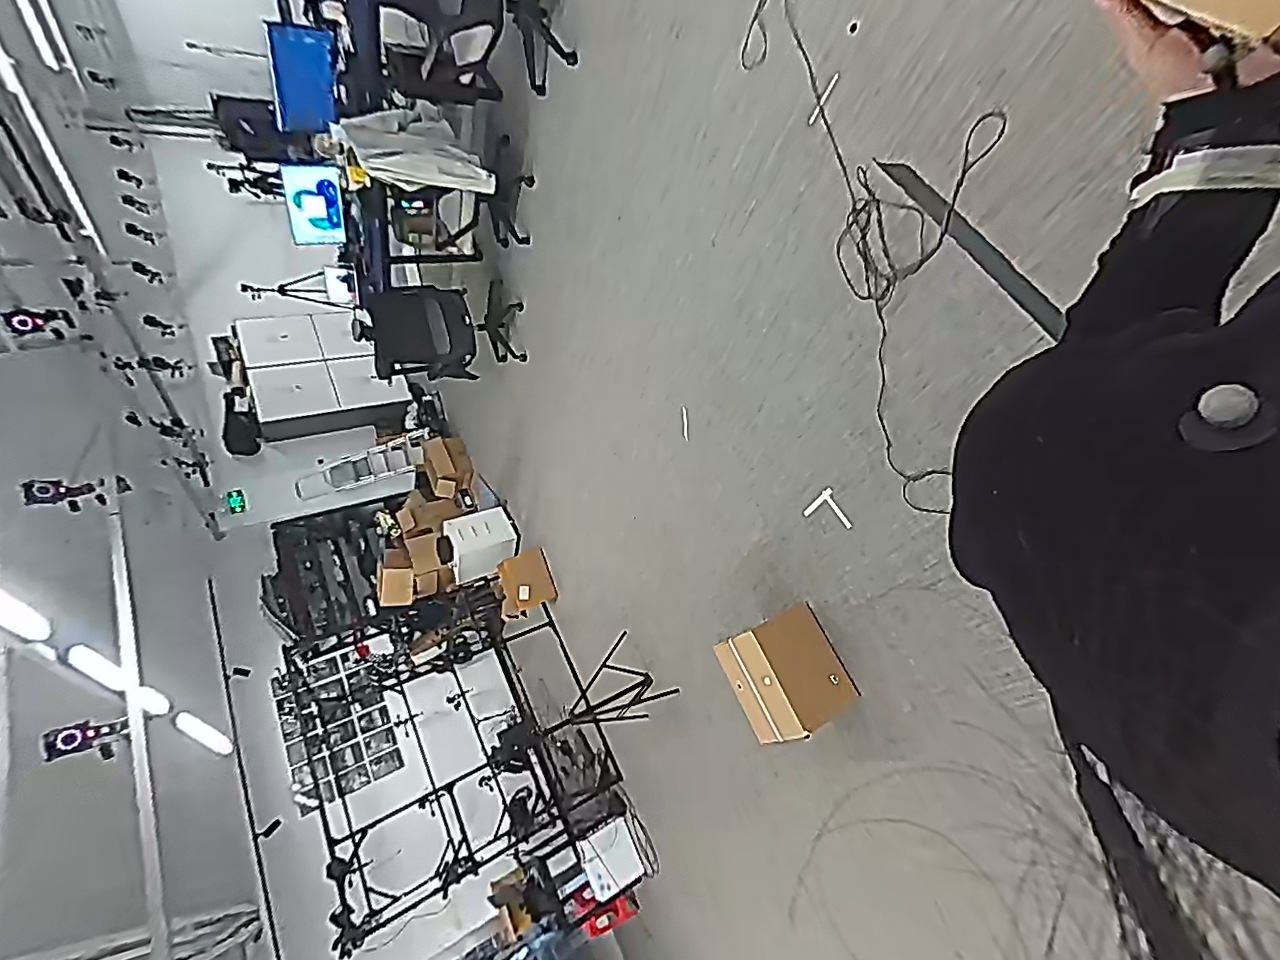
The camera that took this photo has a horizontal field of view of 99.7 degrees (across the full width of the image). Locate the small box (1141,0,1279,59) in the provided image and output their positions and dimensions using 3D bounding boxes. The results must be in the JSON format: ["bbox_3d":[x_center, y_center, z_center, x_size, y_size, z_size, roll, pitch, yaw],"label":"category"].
[{"bbox_3d":[0.319,-0.318,0.245,0.179,0.176,0.168,62,149,29],"label":"small box"}]
